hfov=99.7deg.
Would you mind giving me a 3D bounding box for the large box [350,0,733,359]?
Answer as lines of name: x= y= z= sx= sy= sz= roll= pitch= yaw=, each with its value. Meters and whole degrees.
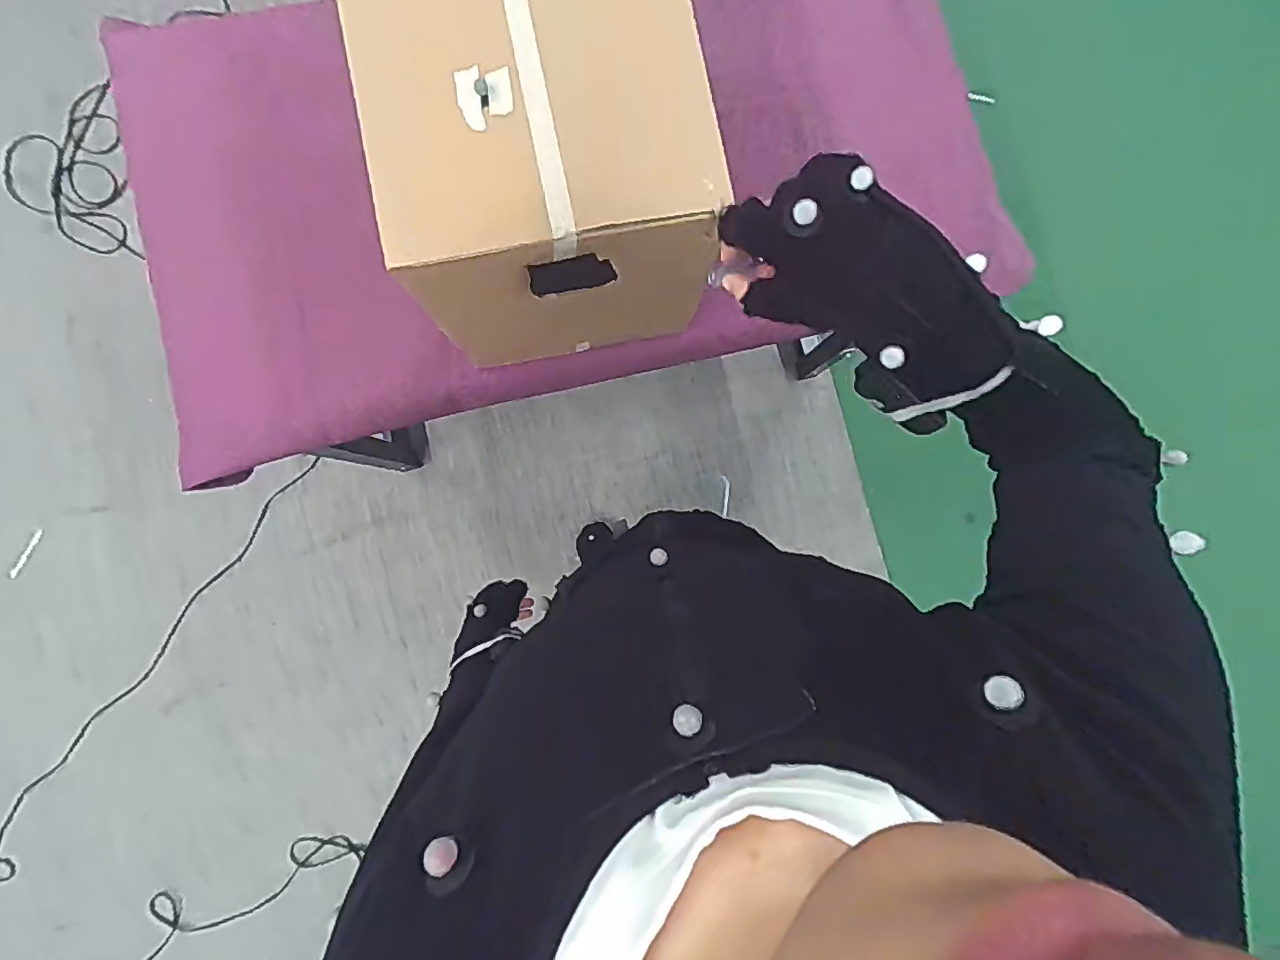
large box: x=-0.113 y=-0.403 z=0.647 sx=0.320 sy=0.320 sz=0.408 roll=-11 pitch=87 yaw=-4
